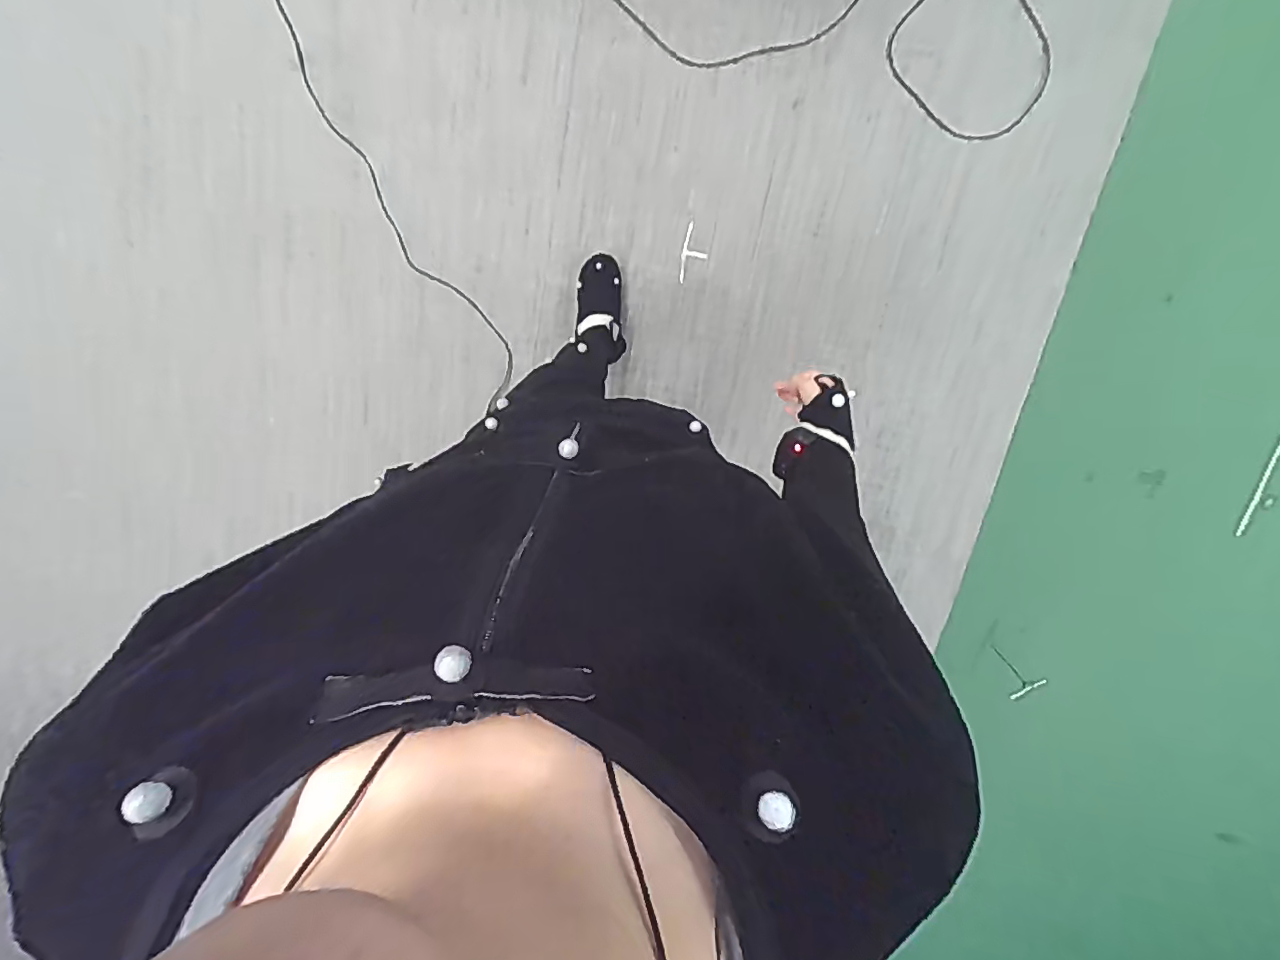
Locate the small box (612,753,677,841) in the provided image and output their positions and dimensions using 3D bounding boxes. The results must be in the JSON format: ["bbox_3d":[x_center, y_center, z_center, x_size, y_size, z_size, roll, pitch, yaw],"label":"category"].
[{"bbox_3d":[0.010,0.973,1.671,0.179,0.176,0.168,6,104,-4],"label":"small box"}]
